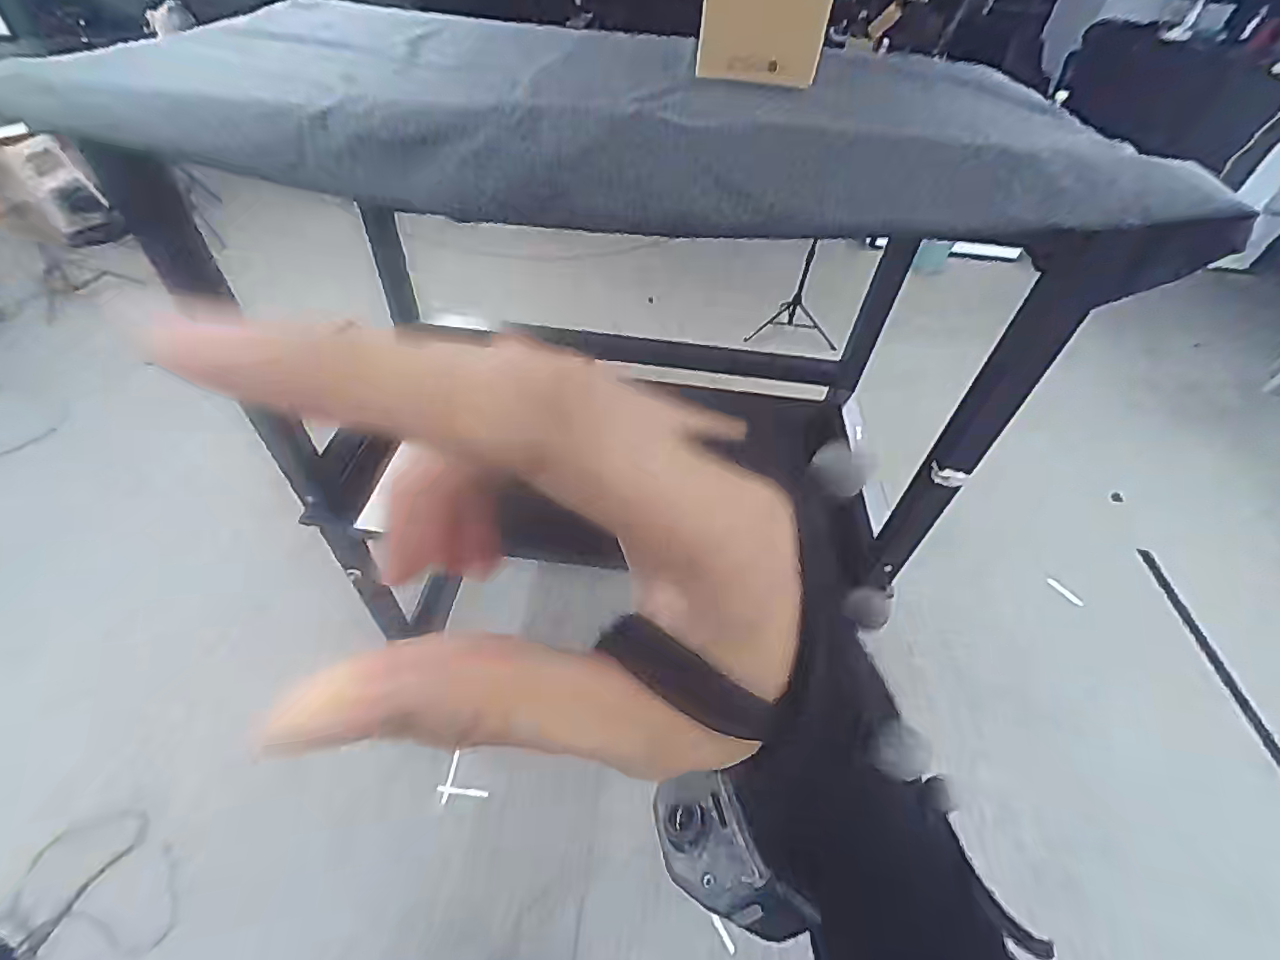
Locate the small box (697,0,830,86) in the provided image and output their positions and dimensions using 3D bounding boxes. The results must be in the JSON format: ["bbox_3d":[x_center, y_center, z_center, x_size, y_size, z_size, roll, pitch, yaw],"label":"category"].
[{"bbox_3d":[0.174,-0.687,0.770,0.168,0.176,0.179,6,46,1],"label":"small box"}]
